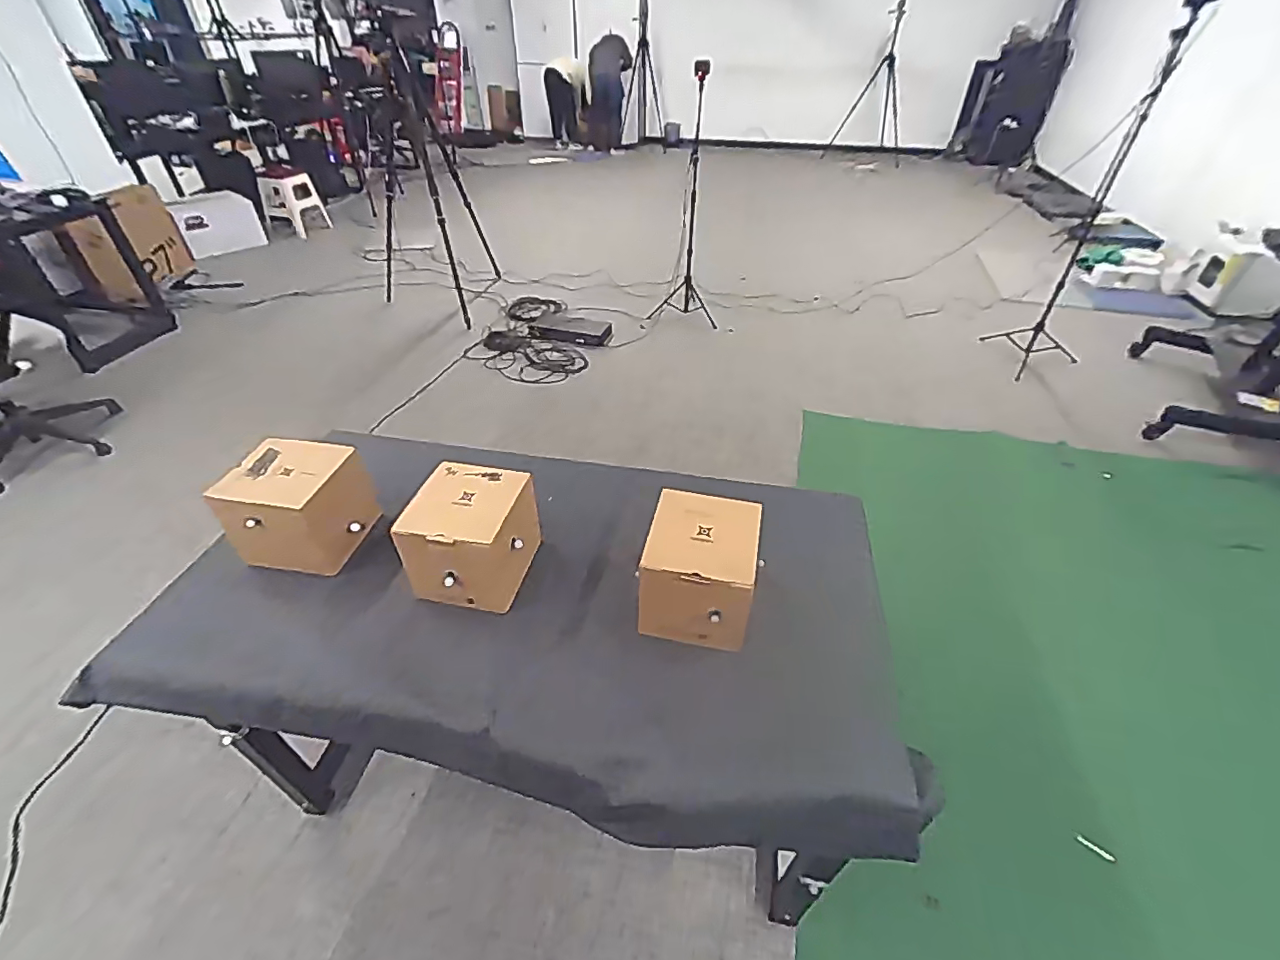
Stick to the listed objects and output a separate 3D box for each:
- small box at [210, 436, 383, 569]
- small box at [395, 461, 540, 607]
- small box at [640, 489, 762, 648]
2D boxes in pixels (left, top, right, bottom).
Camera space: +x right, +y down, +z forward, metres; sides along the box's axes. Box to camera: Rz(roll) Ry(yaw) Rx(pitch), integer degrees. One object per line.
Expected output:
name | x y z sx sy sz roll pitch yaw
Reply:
small box | -0.602 0.042 0.975 0.179 0.176 0.168 7 41 6
small box | -0.279 0.093 0.925 0.168 0.176 0.179 8 42 8
small box | 0.098 0.143 0.875 0.168 0.176 0.179 10 40 9
